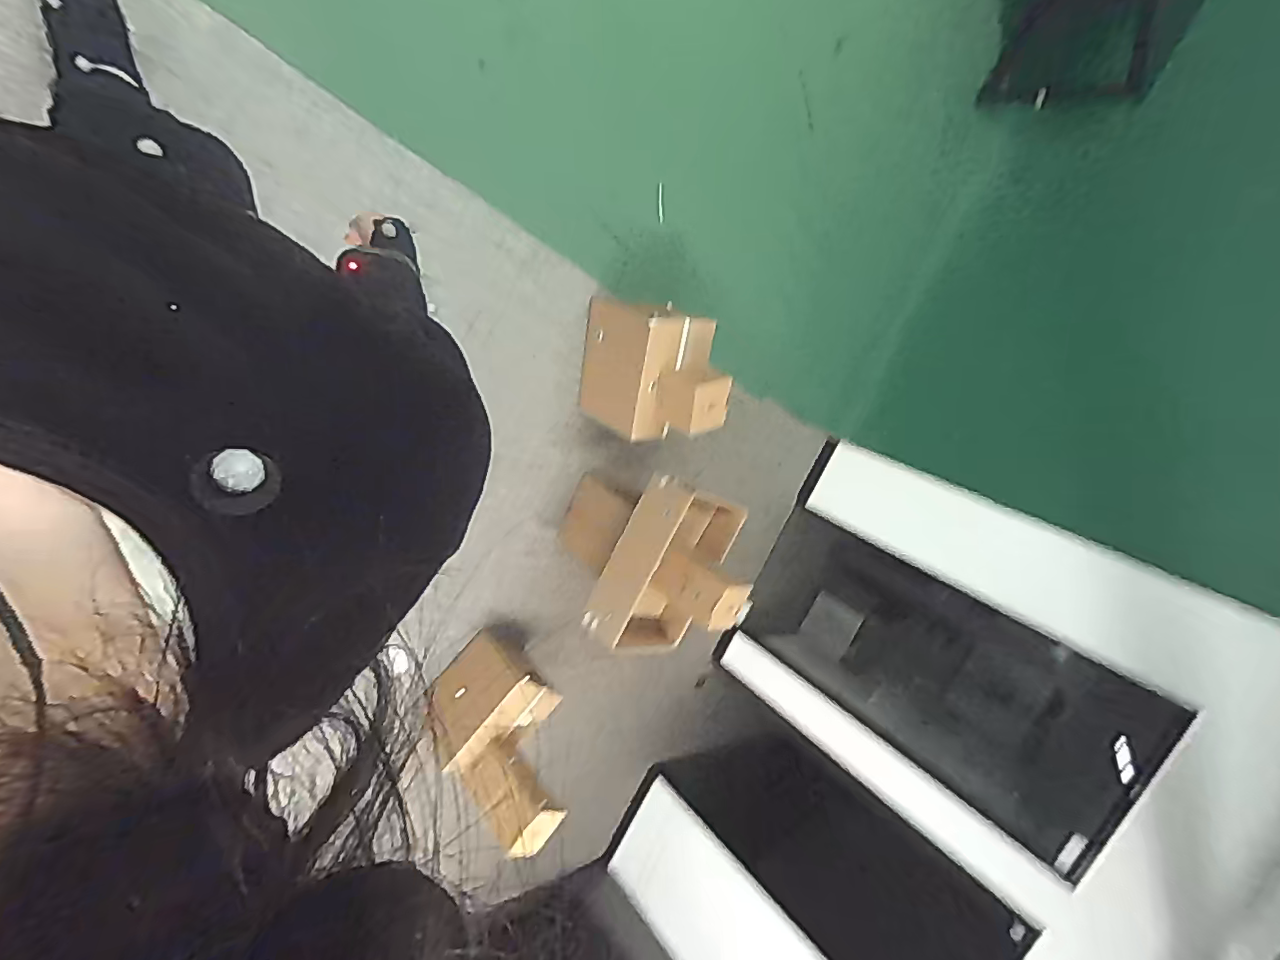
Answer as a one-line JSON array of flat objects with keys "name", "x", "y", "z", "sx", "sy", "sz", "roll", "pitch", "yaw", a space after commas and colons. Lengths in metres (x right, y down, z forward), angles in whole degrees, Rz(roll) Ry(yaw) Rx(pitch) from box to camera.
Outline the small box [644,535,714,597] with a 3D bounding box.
[{"name": "small box", "x": 0.148, "y": 0.316, "z": 1.975, "sx": 0.179, "sy": 0.176, "sz": 0.168, "roll": 17, "pitch": 101, "yaw": -49}]

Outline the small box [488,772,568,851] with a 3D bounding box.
[{"name": "small box", "x": -0.390, "y": 1.147, "z": 1.881, "sx": 0.168, "sy": 0.176, "sz": 0.179, "roll": -51, "pitch": 141, "yaw": -7}]

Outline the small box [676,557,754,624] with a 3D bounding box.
[{"name": "small box", "x": 0.256, "y": 0.380, "z": 1.869, "sx": 0.179, "sy": 0.176, "sz": 0.168, "roll": 14, "pitch": 104, "yaw": -48}]
